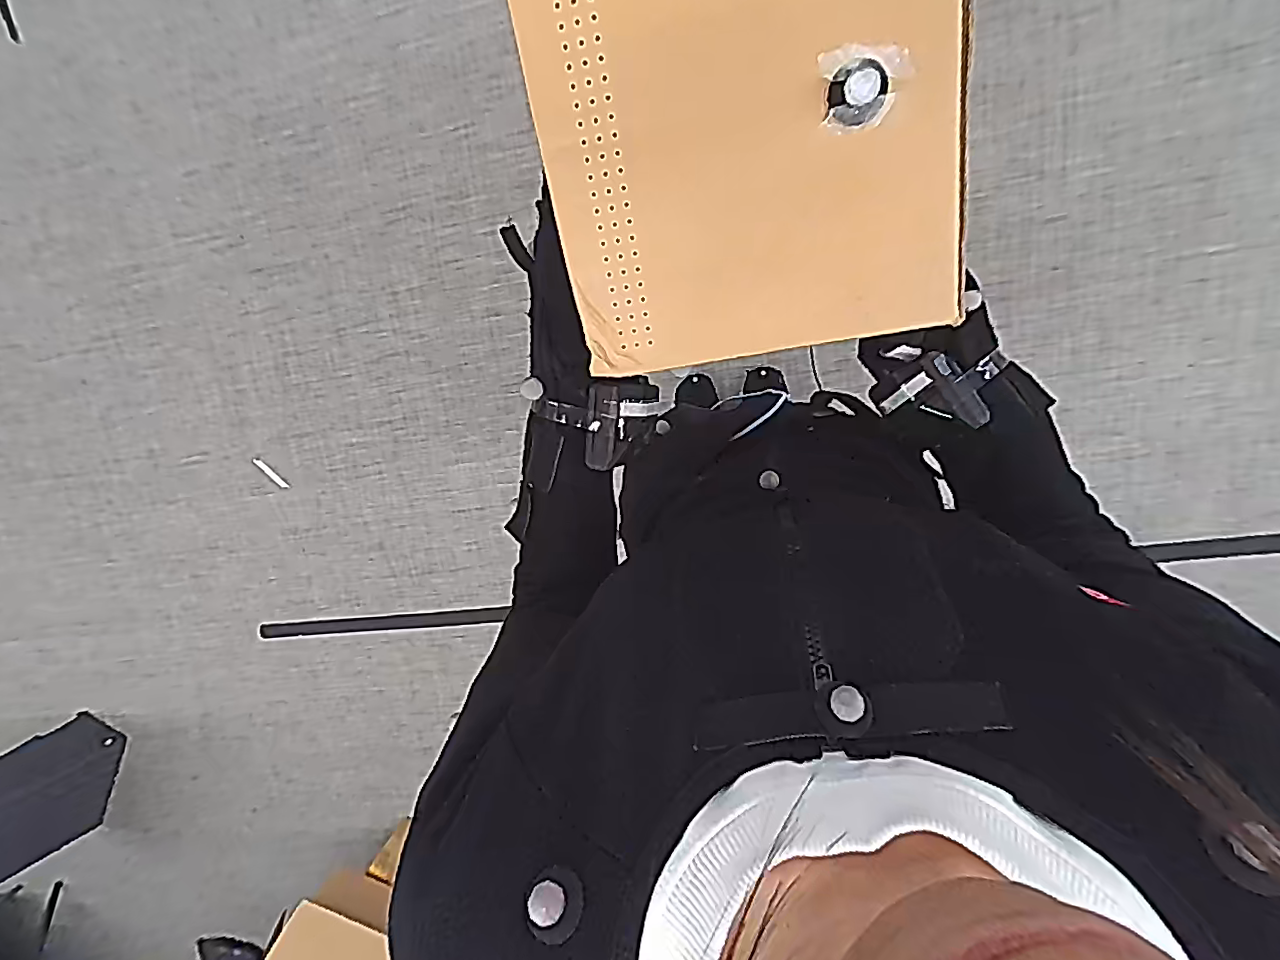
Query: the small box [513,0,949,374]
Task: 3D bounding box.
[{"bbox_3d":[0.045,-0.171,0.298,0.176,0.168,0.179,-7,112,10],"label":"small box"}]
